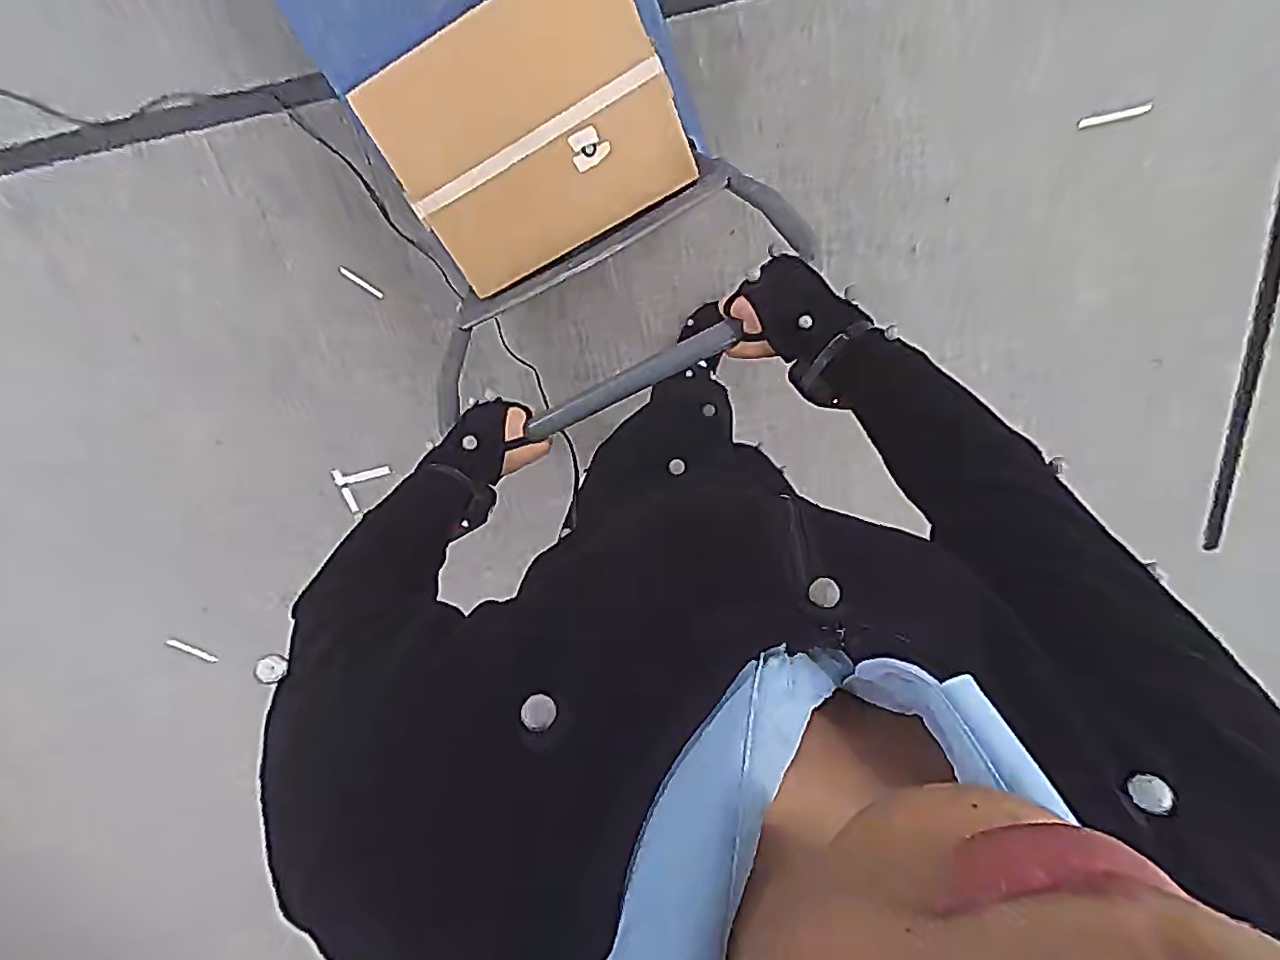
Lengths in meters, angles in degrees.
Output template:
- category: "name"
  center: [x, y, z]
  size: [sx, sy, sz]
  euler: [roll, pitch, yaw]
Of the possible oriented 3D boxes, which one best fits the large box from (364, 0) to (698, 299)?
- category: "large box"
  center: [-0.167, -0.580, 0.924]
  size: [0.408, 0.320, 0.320]
  euler: [-27, 124, 9]
